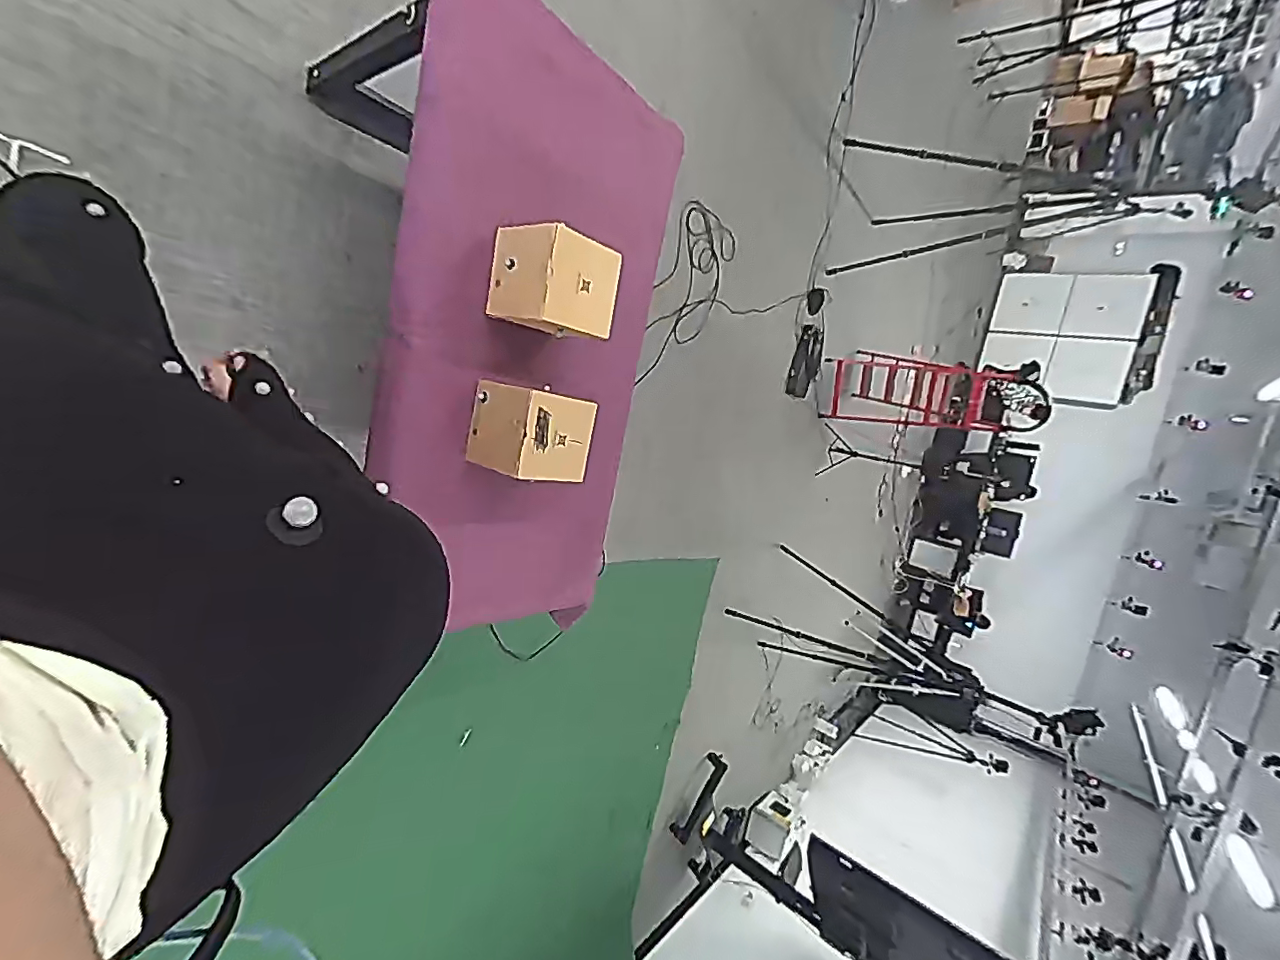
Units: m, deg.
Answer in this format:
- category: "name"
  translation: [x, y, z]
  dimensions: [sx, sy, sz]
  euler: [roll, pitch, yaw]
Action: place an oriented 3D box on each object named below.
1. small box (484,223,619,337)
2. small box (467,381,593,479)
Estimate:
- category: "small box"
  translation: [-0.171, -0.382, 1.047]
  dimensions: [0.179, 0.176, 0.168]
  euler: [0, 104, -51]
- category: "small box"
  translation: [-0.224, -0.101, 1.087]
  dimensions: [0.179, 0.176, 0.168]
  euler: [2, 101, -50]
